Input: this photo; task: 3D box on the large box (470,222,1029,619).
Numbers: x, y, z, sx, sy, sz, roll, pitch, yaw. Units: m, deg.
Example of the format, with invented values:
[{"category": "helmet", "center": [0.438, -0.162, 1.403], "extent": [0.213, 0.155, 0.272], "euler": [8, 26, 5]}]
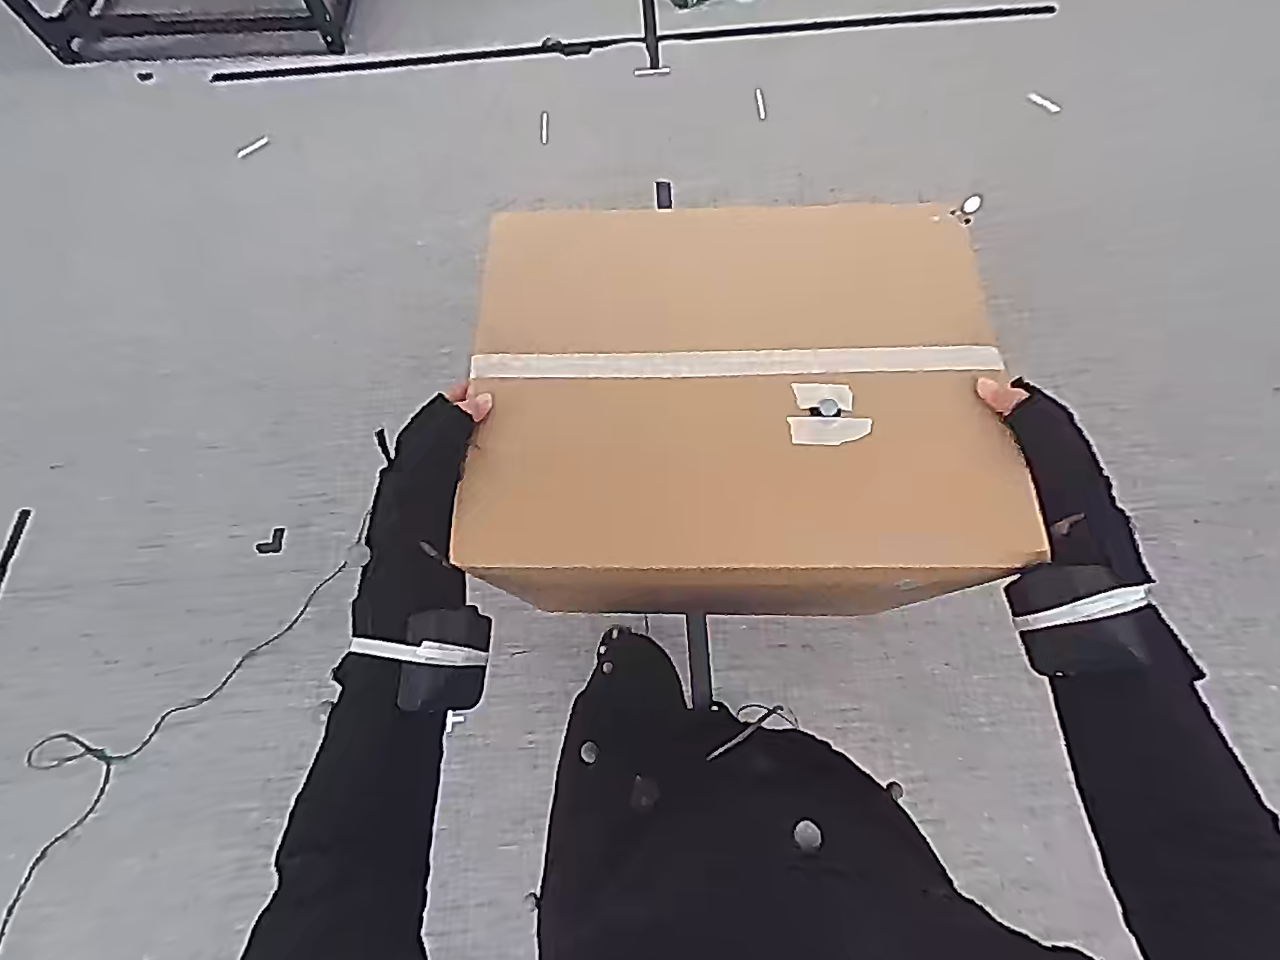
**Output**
[{"category": "large box", "center": [0.076, -0.029, 0.569], "extent": [0.408, 0.320, 0.320], "euler": [0, 71, 2]}]
